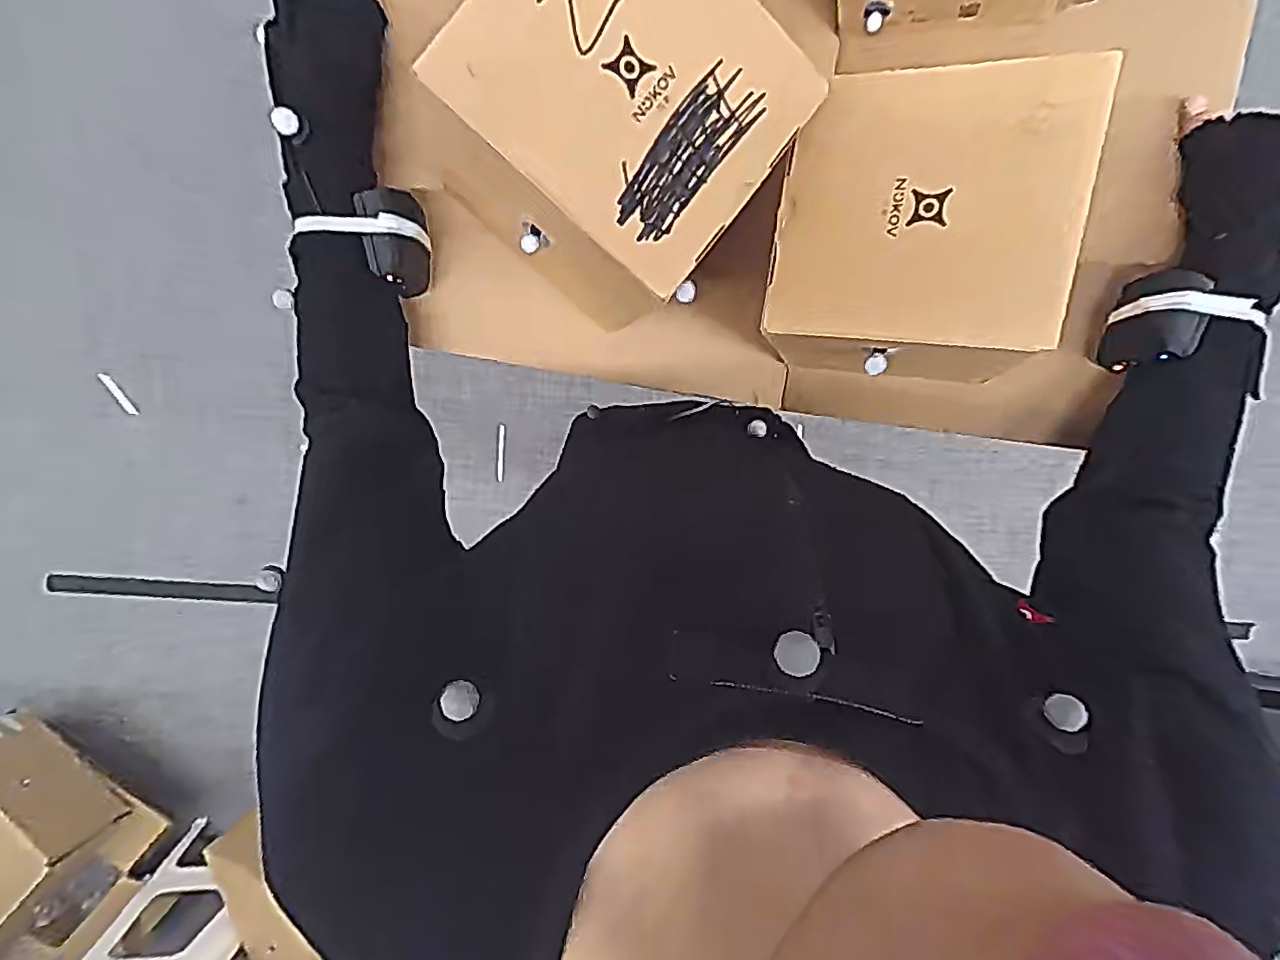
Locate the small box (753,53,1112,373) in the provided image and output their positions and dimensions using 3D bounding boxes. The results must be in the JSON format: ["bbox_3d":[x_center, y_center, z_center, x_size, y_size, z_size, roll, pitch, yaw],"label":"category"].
[{"bbox_3d":[0.200,-0.179,0.413,0.179,0.176,0.168,12,98,21],"label":"small box"}]
